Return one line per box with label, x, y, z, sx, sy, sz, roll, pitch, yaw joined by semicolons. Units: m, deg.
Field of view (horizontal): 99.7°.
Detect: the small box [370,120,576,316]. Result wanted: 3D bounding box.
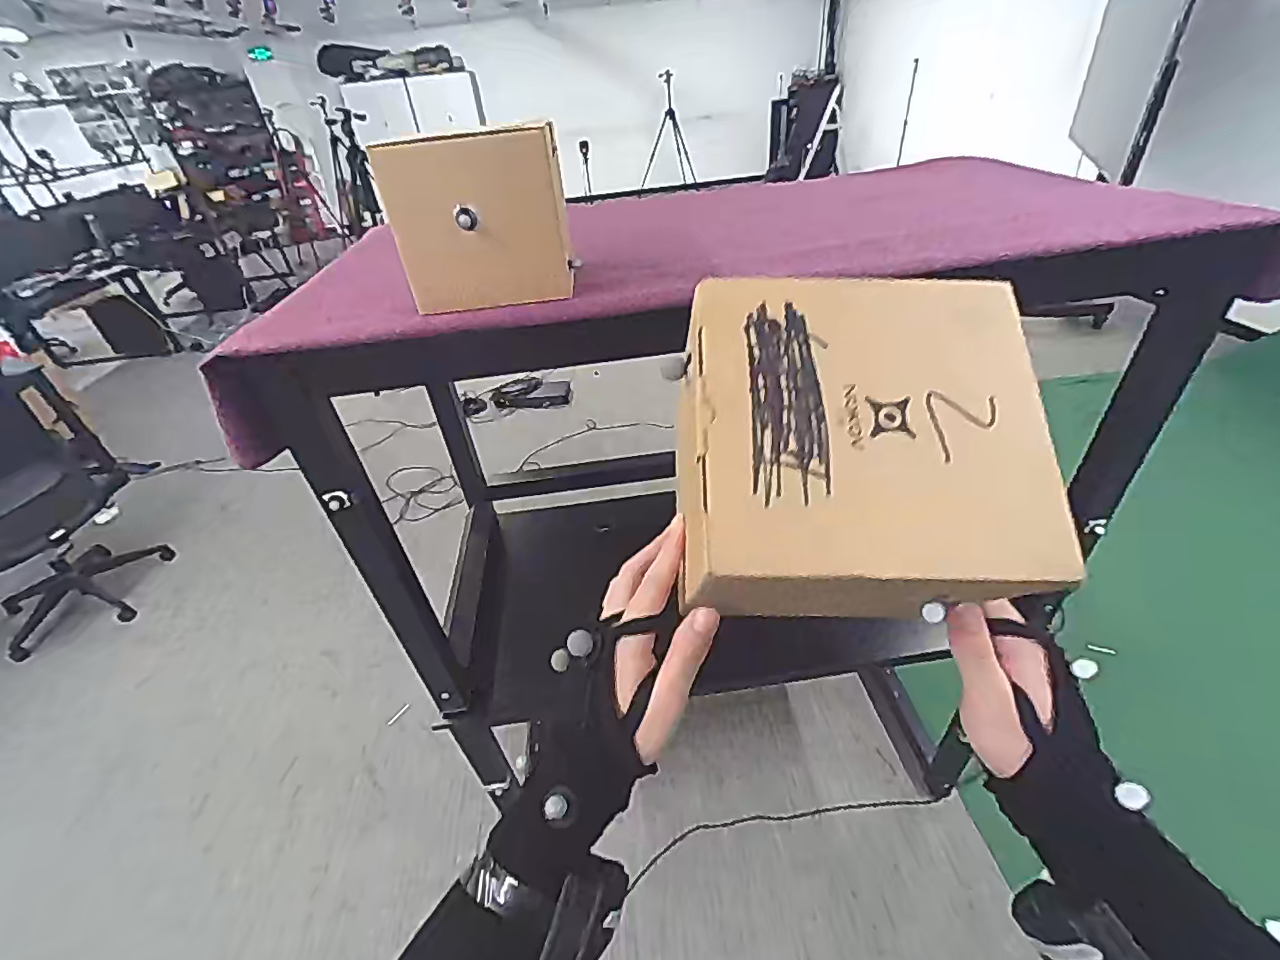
small box;-0.172;-0.305;0.629;0.179;0.176;0.168;-7;36;0
